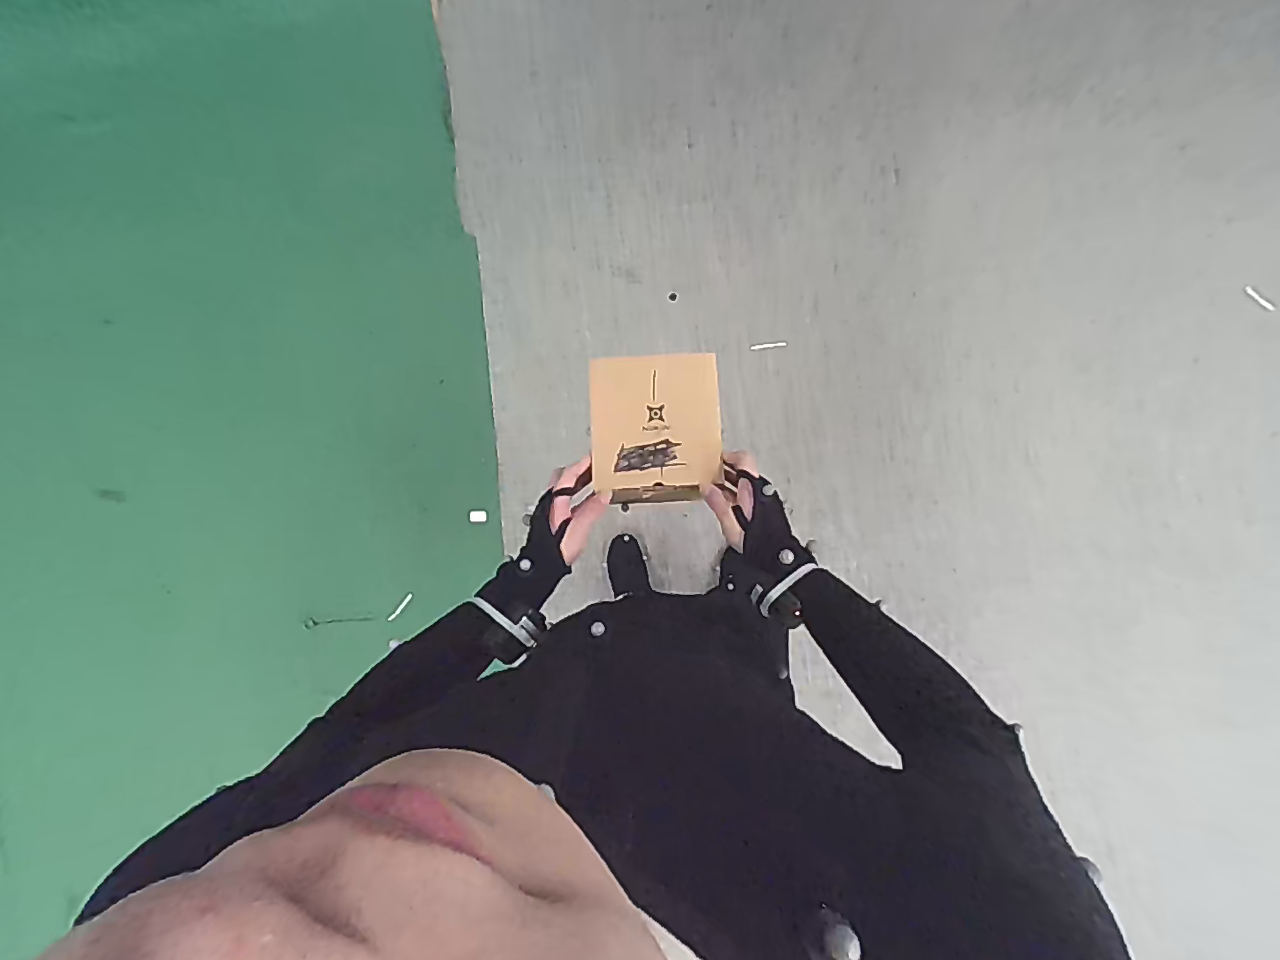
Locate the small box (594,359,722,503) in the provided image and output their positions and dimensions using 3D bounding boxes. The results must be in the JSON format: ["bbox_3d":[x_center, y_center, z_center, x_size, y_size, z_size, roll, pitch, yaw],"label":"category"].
[{"bbox_3d":[0.024,-0.060,0.776,0.168,0.176,0.179,-2,81,0],"label":"small box"}]
